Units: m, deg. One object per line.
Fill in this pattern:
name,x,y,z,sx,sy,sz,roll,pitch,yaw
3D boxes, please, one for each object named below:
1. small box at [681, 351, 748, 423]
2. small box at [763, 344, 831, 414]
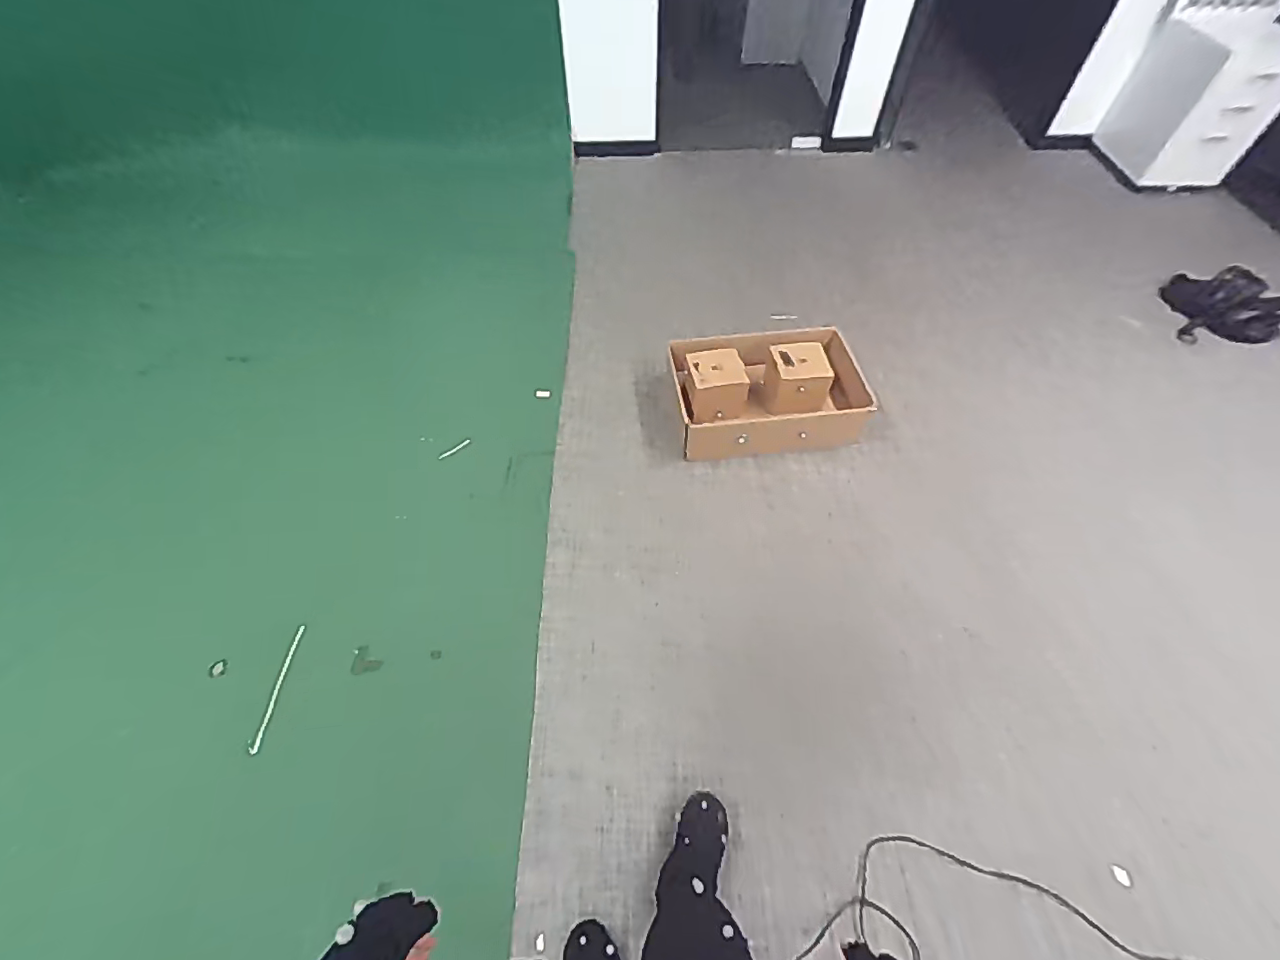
small box,0.244,-0.310,1.819,0.179,0.176,0.168,-7,54,-7
small box,0.523,-0.340,1.840,0.179,0.176,0.168,-5,55,-2
